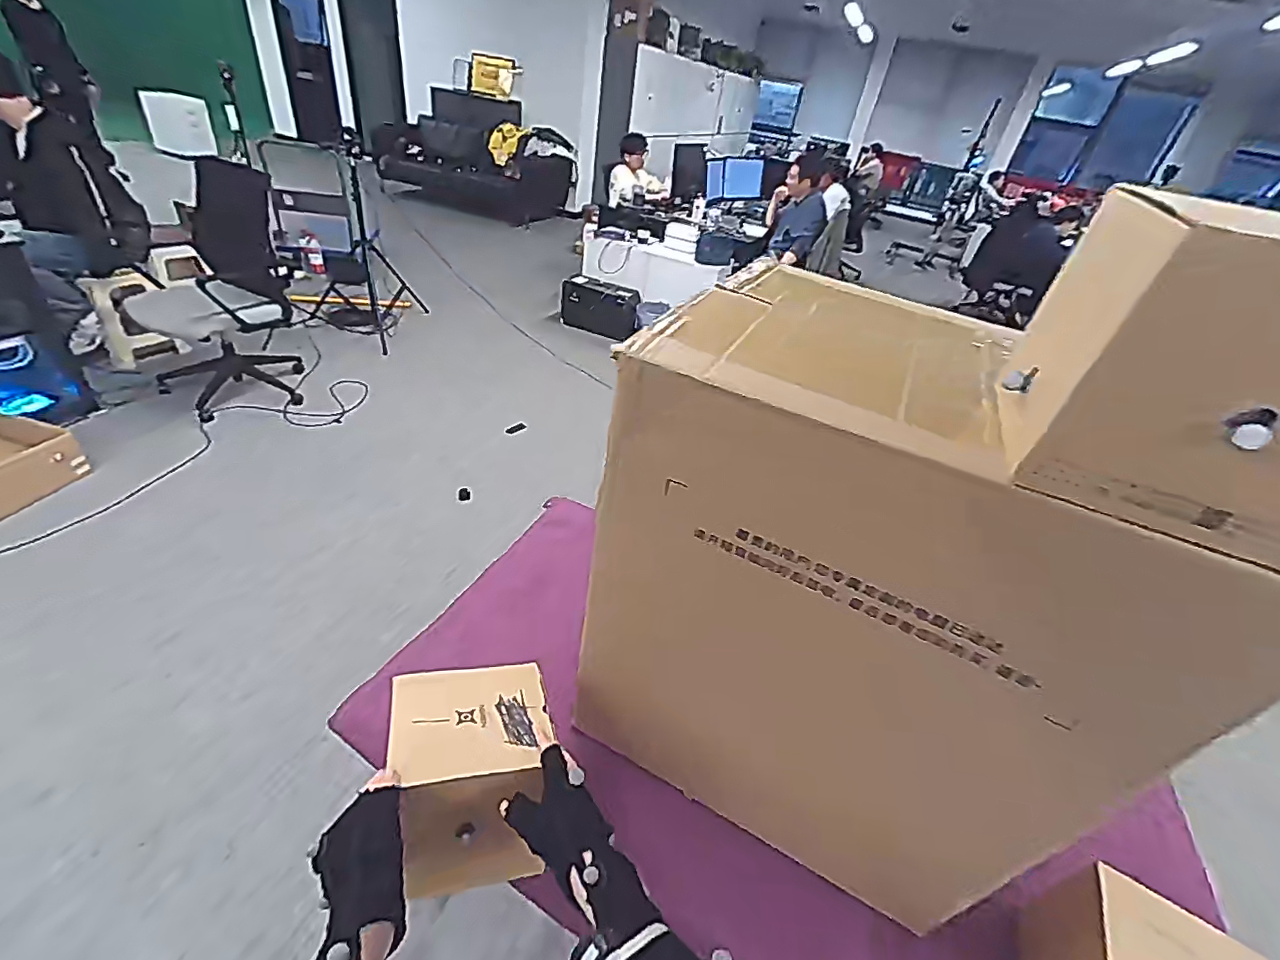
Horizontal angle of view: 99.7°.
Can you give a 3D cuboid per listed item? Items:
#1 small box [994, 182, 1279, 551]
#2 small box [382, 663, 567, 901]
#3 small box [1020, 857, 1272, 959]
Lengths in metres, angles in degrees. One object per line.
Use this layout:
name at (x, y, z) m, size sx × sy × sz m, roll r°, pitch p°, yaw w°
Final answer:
small box at (0.369, -0.082, 0.362) m, size 0.168 × 0.176 × 0.179 m, roll 21°, pitch 39°, yaw 15°
small box at (-0.197, 0.340, 0.633) m, size 0.179 × 0.176 × 0.168 m, roll 3°, pitch 18°, yaw -22°
small box at (0.539, 0.569, 0.580) m, size 0.168 × 0.176 × 0.179 m, roll 26°, pitch 37°, yaw 20°
